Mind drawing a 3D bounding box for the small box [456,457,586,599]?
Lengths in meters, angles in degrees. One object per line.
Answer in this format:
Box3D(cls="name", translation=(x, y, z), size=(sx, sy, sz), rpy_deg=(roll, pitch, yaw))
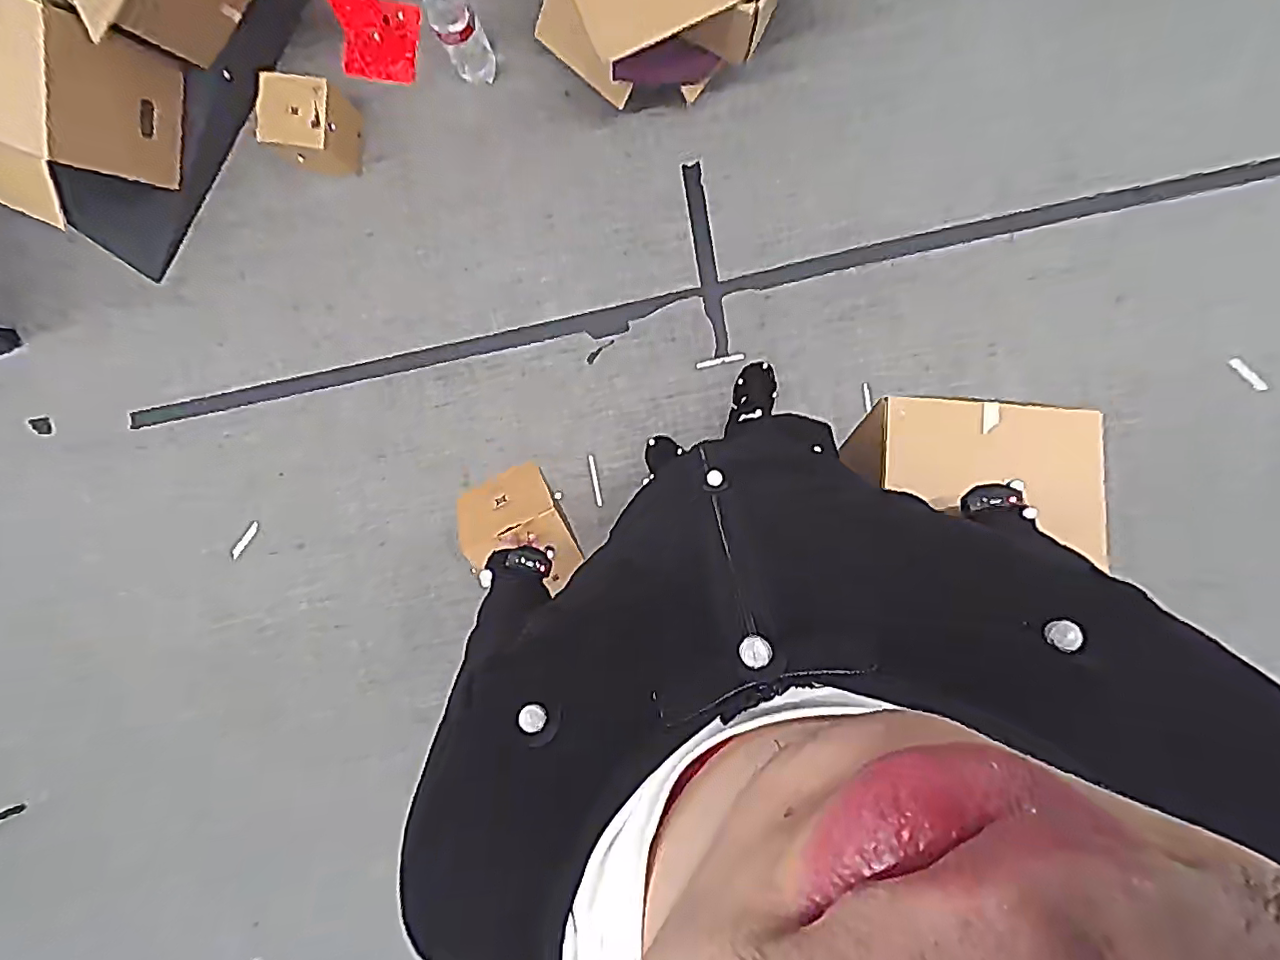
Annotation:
Box3D(cls="small box", translation=(-0.218, 0.095, 0.999), size=(0.168, 0.179, 0.176), rpy_deg=(-26, 128, -7))
